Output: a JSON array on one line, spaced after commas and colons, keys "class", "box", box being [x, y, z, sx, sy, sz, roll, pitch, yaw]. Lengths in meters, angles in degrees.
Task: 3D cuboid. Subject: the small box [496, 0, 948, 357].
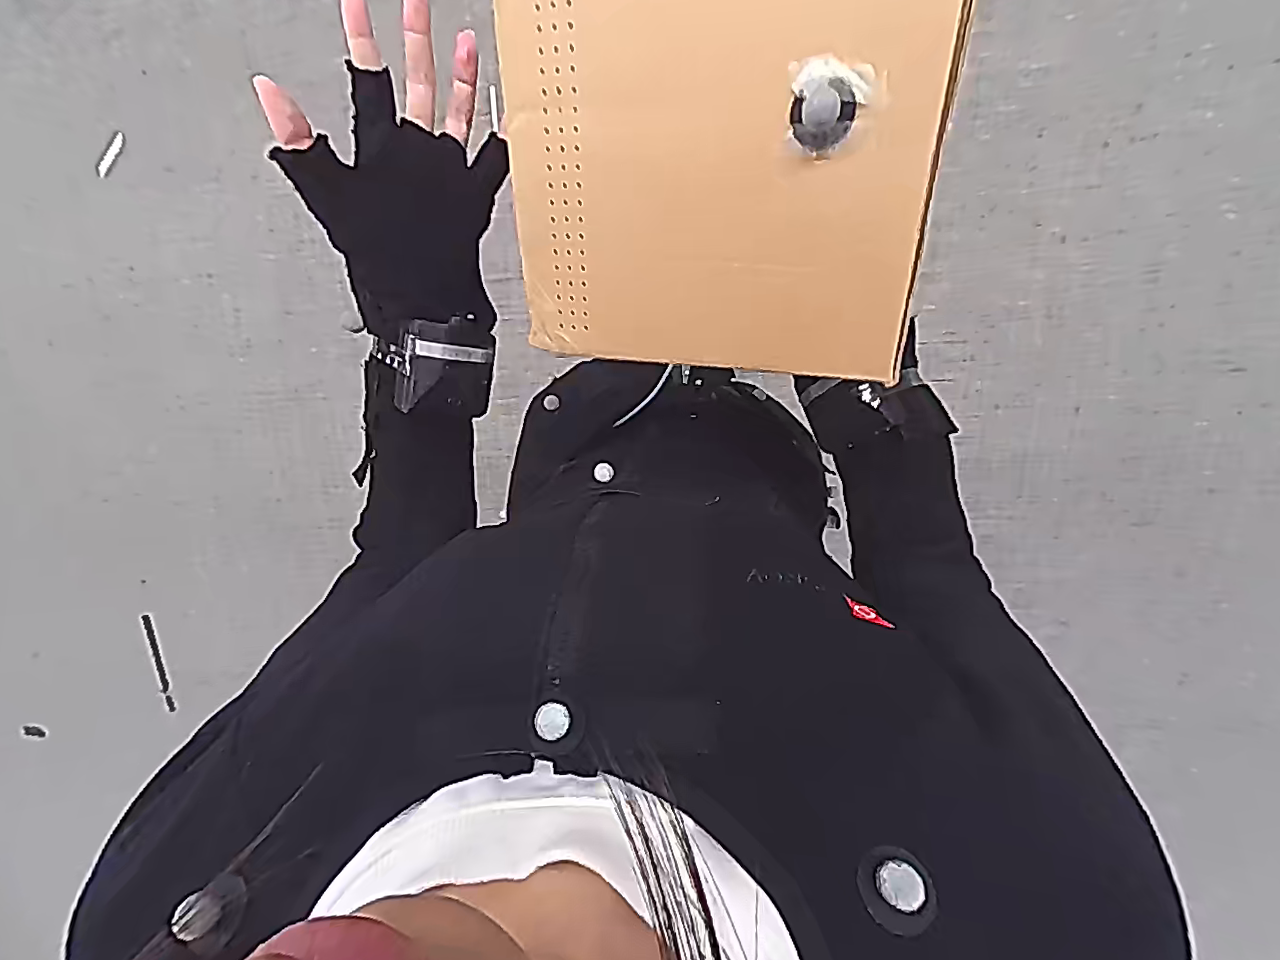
[{"class": "small box", "box": [0.043, -0.171, 0.275, 0.176, 0.168, 0.179, 9, 119, 18]}]
